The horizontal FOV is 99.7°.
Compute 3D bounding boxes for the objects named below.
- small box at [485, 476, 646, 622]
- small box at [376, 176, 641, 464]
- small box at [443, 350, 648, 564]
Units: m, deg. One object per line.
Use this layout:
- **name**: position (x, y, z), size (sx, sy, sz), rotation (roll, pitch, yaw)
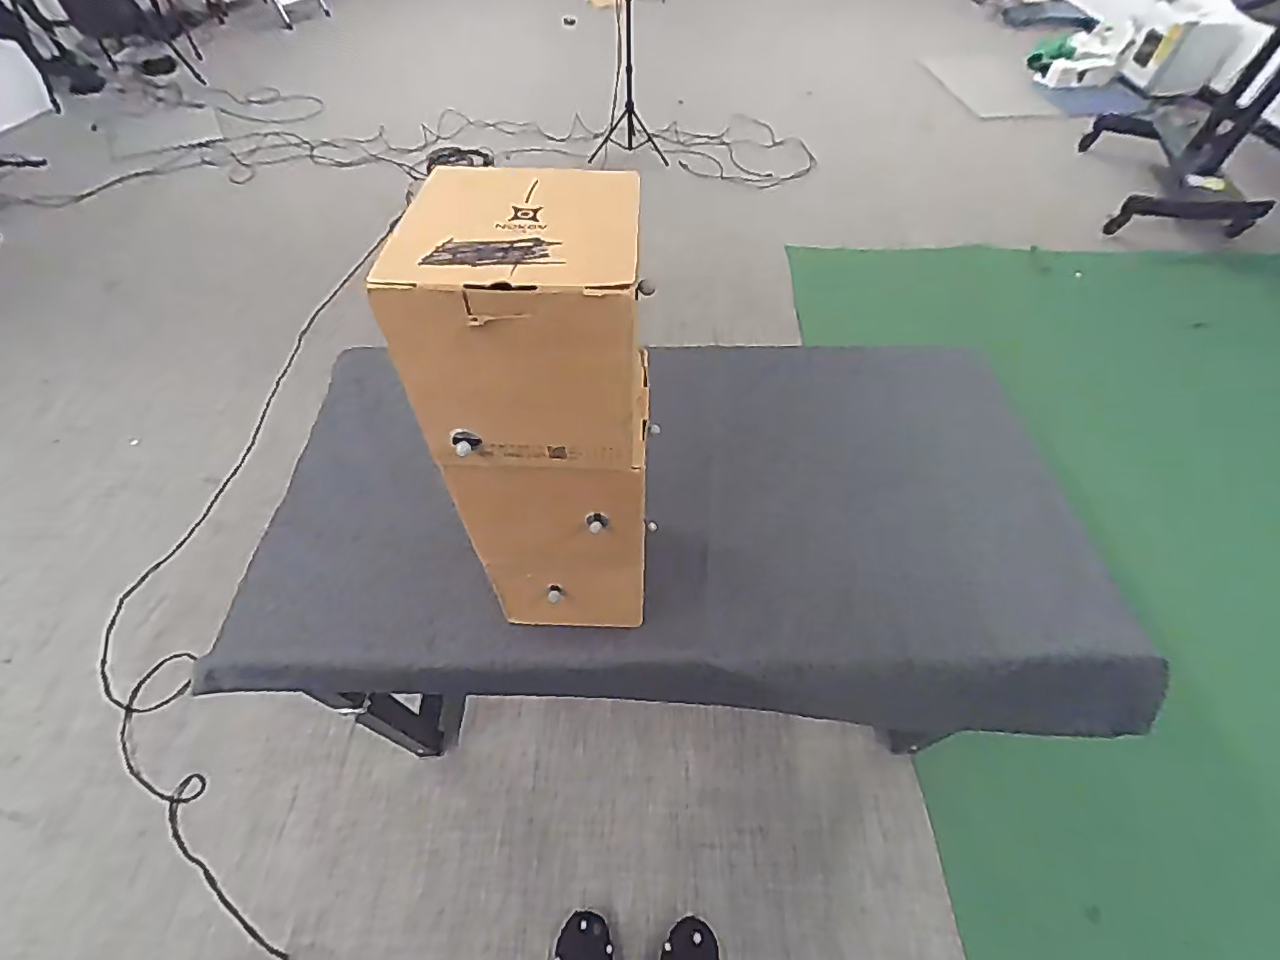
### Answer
- **small box**: position (-0.083, 0.075, 0.707), size (0.179, 0.176, 0.168), rotation (2, 52, 1)
- **small box**: position (-0.084, -0.129, 0.452), size (0.168, 0.176, 0.179), rotation (2, 50, 0)
- **small box**: position (-0.082, -0.022, 0.577), size (0.179, 0.176, 0.168), rotation (1, 51, 1)
